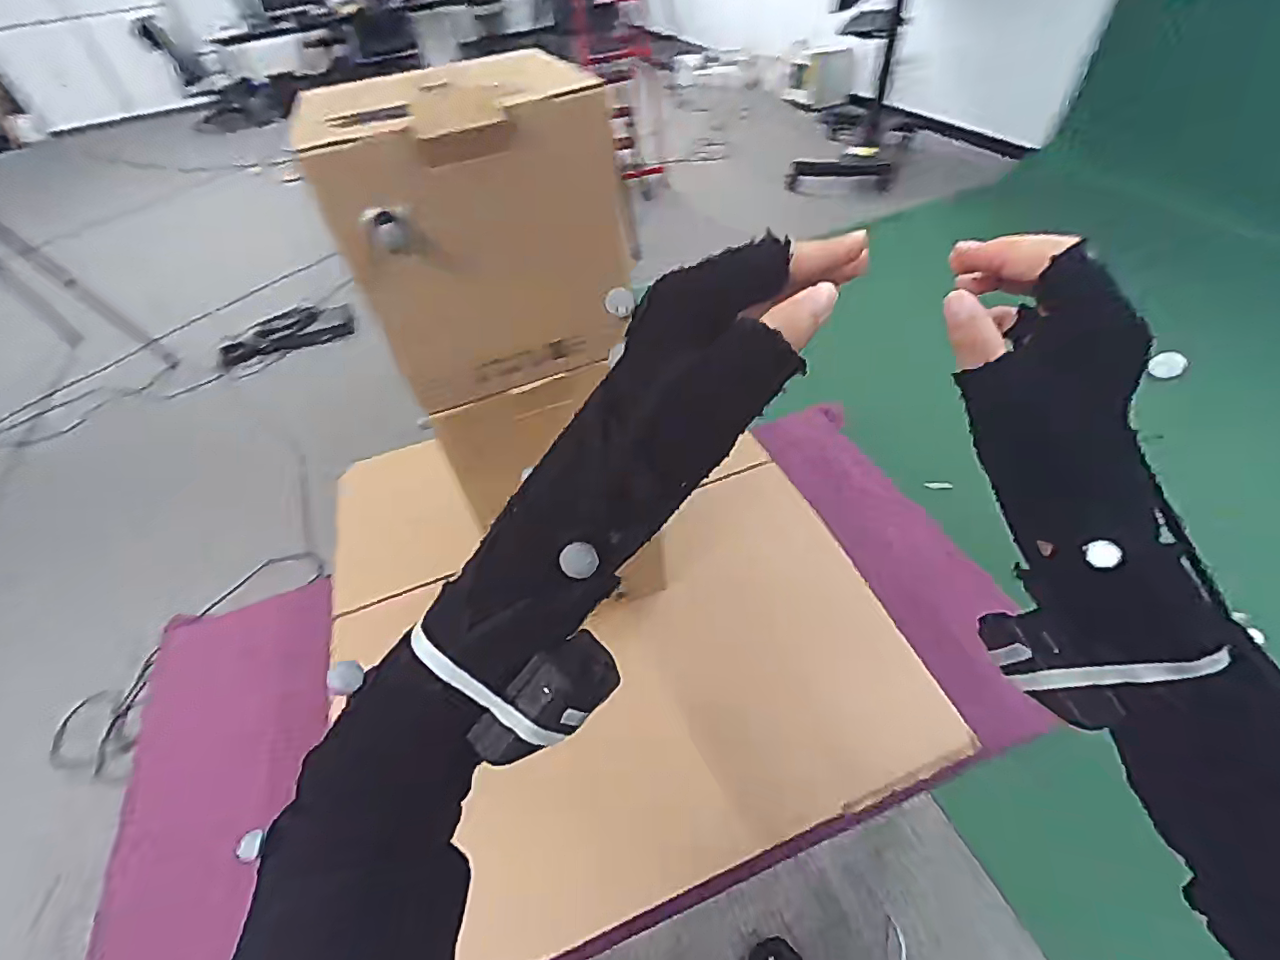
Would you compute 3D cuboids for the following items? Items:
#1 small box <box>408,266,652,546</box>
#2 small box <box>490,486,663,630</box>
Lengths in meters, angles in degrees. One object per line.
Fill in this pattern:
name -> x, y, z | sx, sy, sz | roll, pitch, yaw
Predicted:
small box -> -0.098, -0.071, 0.508 | 0.168, 0.176, 0.179 | -20, 48, -12
small box -> -0.081, 0.040, 0.627 | 0.168, 0.176, 0.179 | -19, 48, -10
